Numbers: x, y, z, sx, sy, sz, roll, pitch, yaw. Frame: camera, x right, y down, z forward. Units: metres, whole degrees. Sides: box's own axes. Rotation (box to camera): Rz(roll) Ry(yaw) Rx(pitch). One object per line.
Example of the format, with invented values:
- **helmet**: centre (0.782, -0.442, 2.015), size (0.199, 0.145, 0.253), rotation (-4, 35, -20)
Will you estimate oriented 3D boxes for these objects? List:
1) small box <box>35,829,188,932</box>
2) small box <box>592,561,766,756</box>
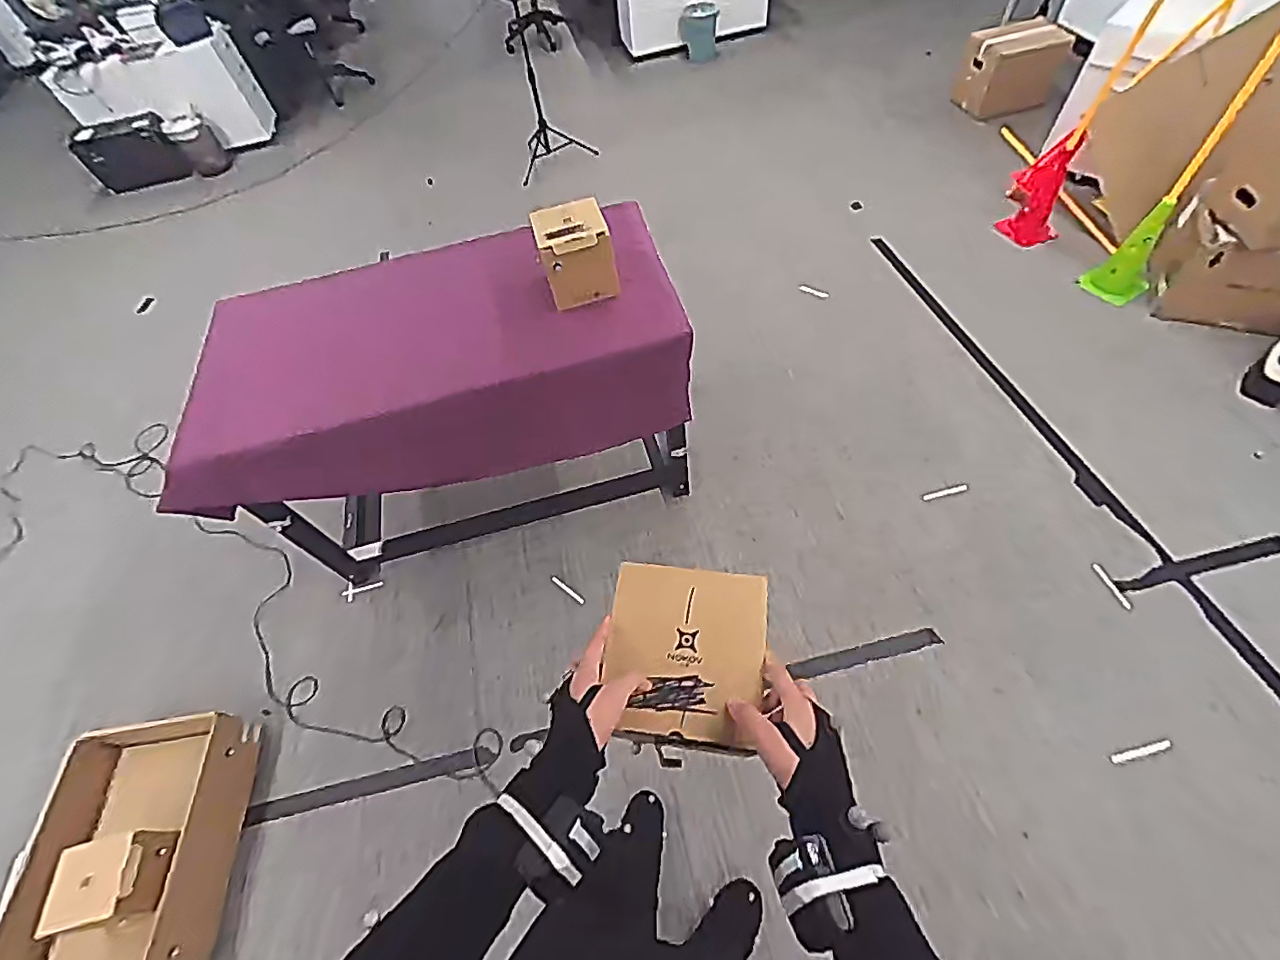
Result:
- **small box**: centre (-1.245, 0.950, 1.293), size (0.179, 0.176, 0.168), rotation (-14, 54, -2)
- **small box**: centre (0.051, 0.213, 0.630), size (0.168, 0.176, 0.179), rotation (5, 61, 8)
